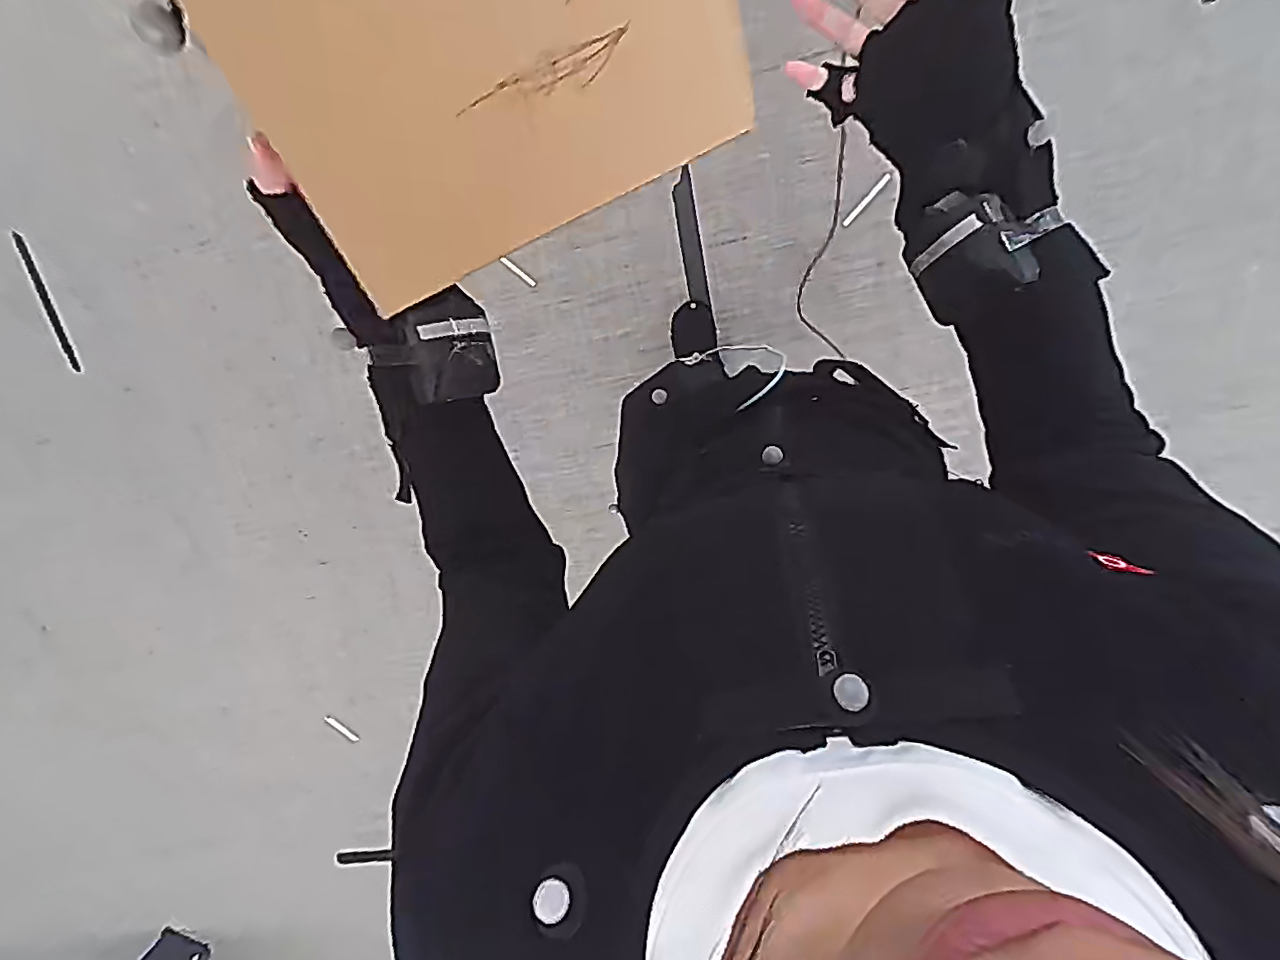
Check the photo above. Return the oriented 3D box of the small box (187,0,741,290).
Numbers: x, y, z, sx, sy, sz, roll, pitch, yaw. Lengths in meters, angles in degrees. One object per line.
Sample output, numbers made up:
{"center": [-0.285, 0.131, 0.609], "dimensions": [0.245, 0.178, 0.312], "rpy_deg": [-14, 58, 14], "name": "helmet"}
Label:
{"center": [-0.089, -0.202, 0.227], "dimensions": [0.168, 0.176, 0.179], "rpy_deg": [-33, 126, -14], "name": "small box"}
